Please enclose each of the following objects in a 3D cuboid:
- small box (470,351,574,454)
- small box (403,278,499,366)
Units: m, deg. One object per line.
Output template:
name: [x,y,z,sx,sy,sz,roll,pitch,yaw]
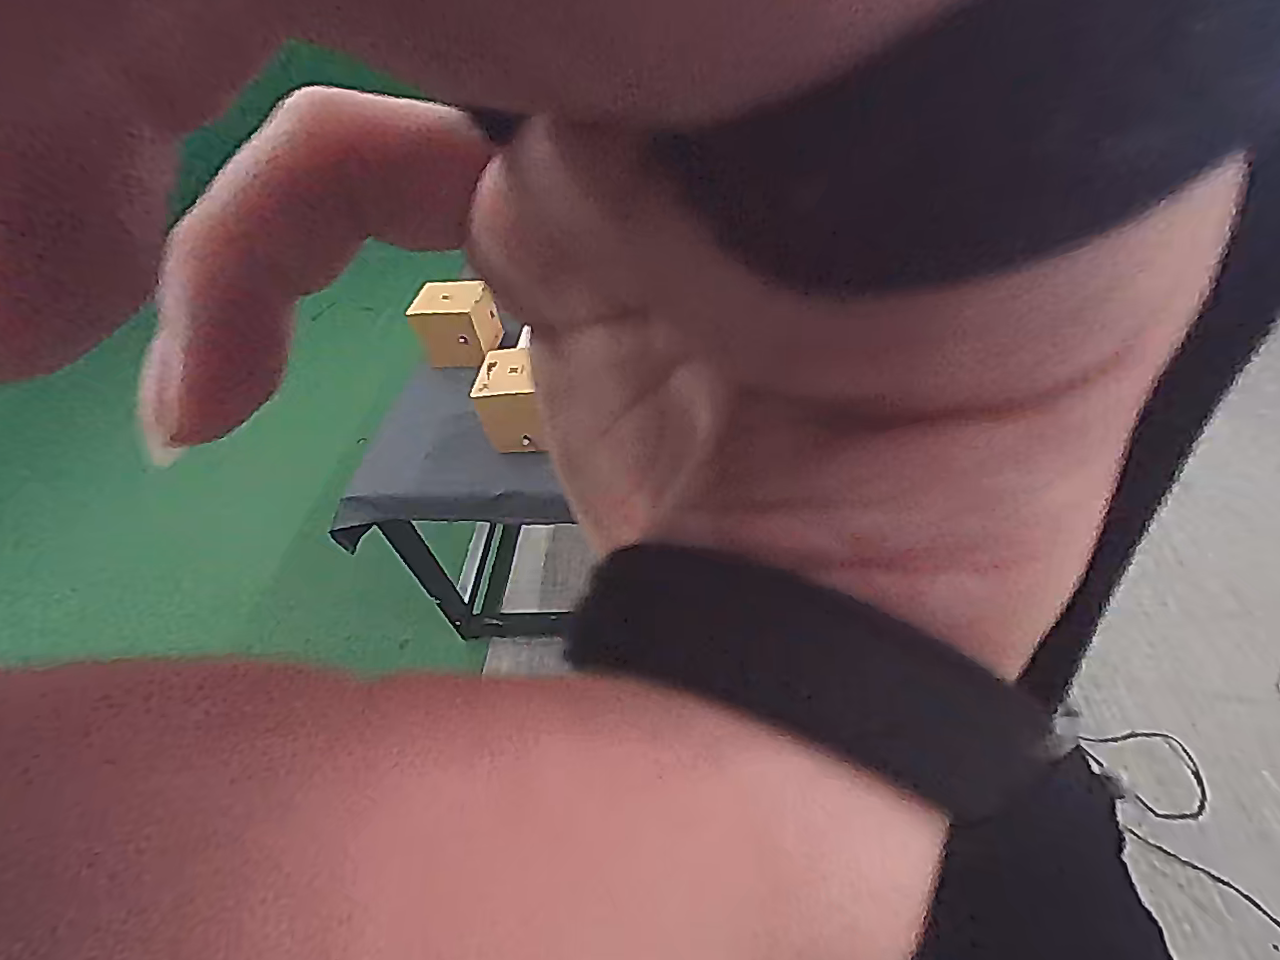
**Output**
small box: [-0.254,-0.171,1.219,0.179,0.176,0.168,-1,47,6]
small box: [-0.500,-0.425,1.462,0.179,0.176,0.168,-1,47,7]
